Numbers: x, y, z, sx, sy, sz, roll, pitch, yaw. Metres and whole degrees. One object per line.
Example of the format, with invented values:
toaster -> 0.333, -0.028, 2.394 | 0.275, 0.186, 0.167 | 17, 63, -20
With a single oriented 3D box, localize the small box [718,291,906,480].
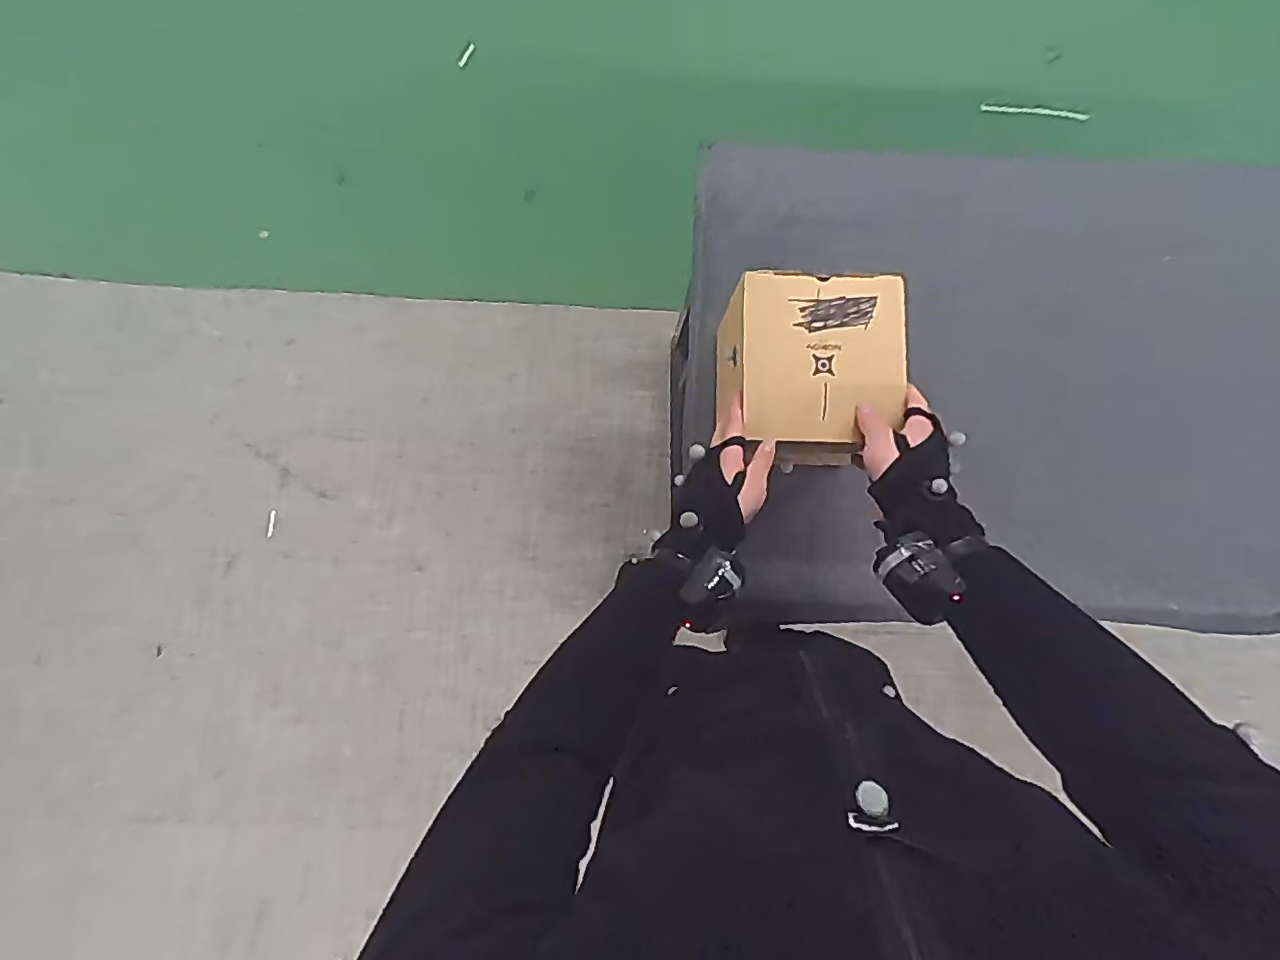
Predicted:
small box -> 0.185, -0.098, 0.629 | 0.168, 0.176, 0.179 | 1, 84, -1
